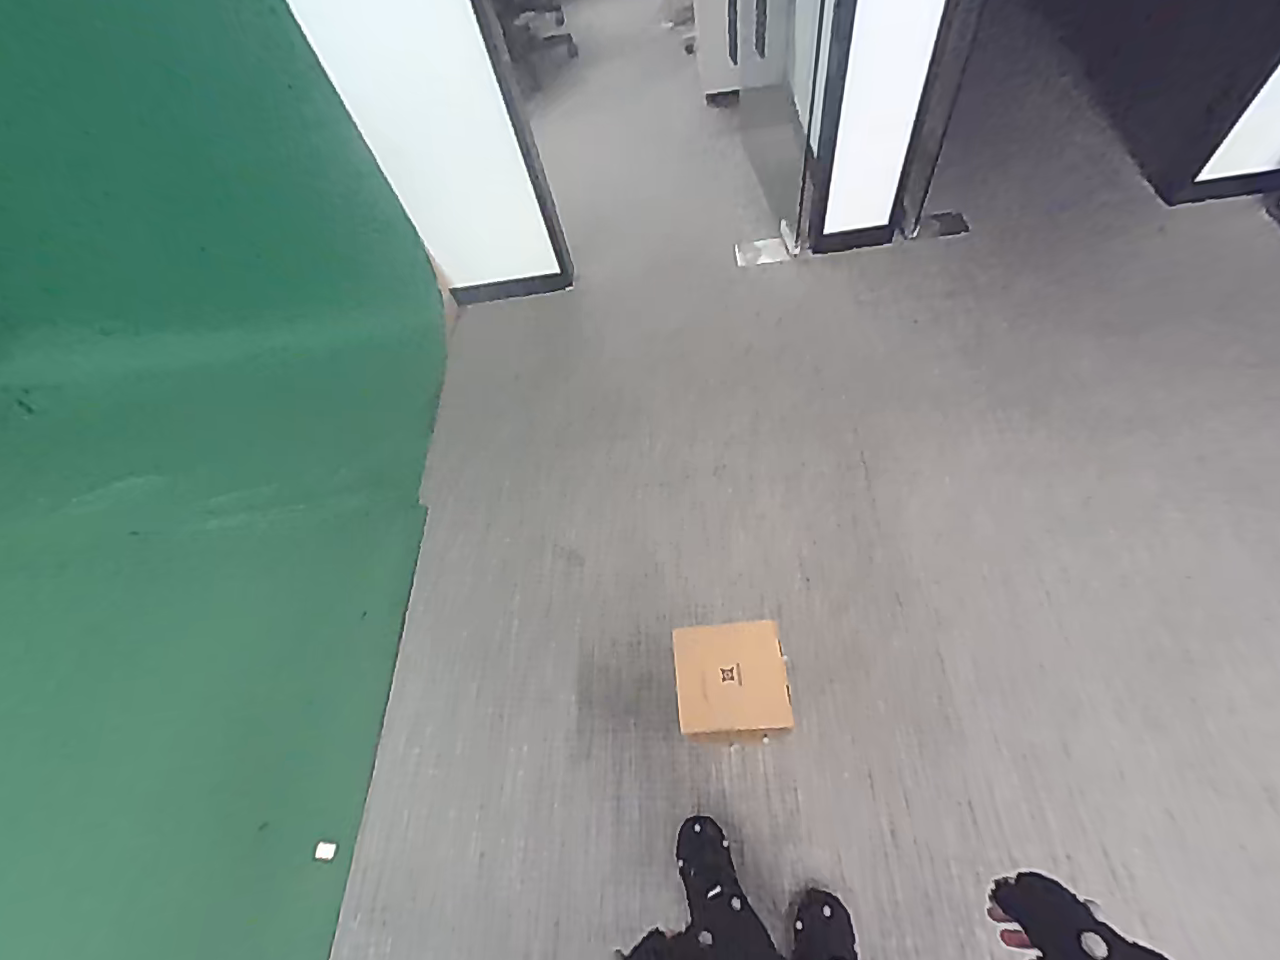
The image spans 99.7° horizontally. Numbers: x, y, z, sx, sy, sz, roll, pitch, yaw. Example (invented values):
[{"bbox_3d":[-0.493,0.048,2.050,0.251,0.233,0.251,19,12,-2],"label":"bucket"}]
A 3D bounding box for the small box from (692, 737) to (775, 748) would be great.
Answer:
[{"bbox_3d":[0.202,0.504,1.219,0.179,0.176,0.168,-6,58,8],"label":"small box"}]

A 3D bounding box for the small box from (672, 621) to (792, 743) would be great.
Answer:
[{"bbox_3d":[0.155,0.353,0.933,0.179,0.176,0.168,-8,57,7],"label":"small box"}]
